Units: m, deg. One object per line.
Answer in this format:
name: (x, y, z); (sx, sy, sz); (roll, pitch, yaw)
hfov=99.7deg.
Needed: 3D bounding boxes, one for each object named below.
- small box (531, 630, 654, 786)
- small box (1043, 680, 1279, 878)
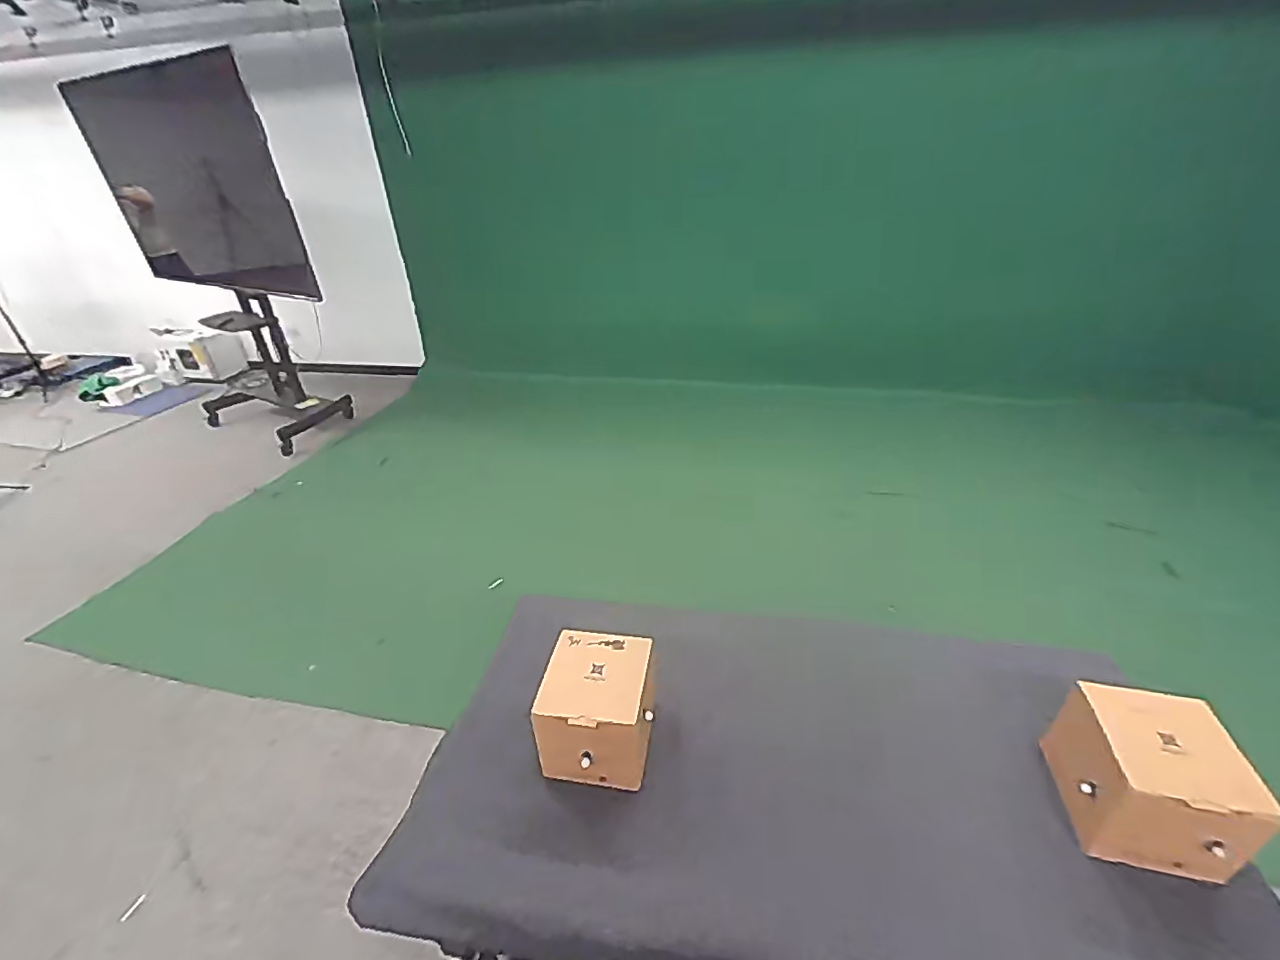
small box: (-0.068, 0.385, 0.917); (0.168, 0.176, 0.179); (3, 31, 9)
small box: (0.726, 0.426, 0.778); (0.168, 0.176, 0.179); (6, 31, 13)
